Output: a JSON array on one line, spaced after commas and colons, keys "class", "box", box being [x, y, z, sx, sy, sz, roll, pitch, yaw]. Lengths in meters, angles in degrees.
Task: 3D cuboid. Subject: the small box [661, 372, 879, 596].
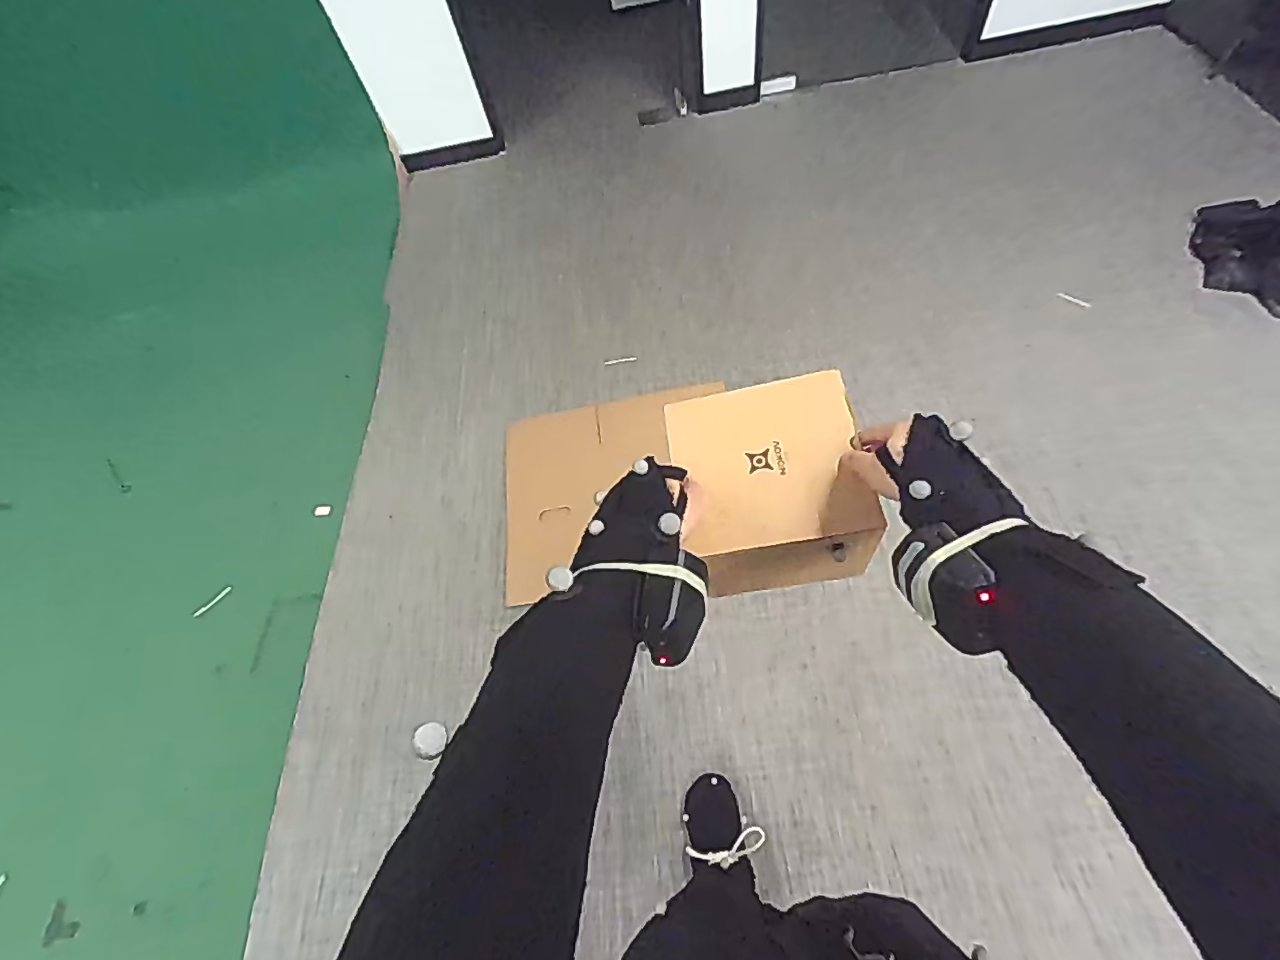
[{"class": "small box", "box": [0.130, 0.016, 0.570, 0.179, 0.176, 0.168, -11, 64, 10]}]
